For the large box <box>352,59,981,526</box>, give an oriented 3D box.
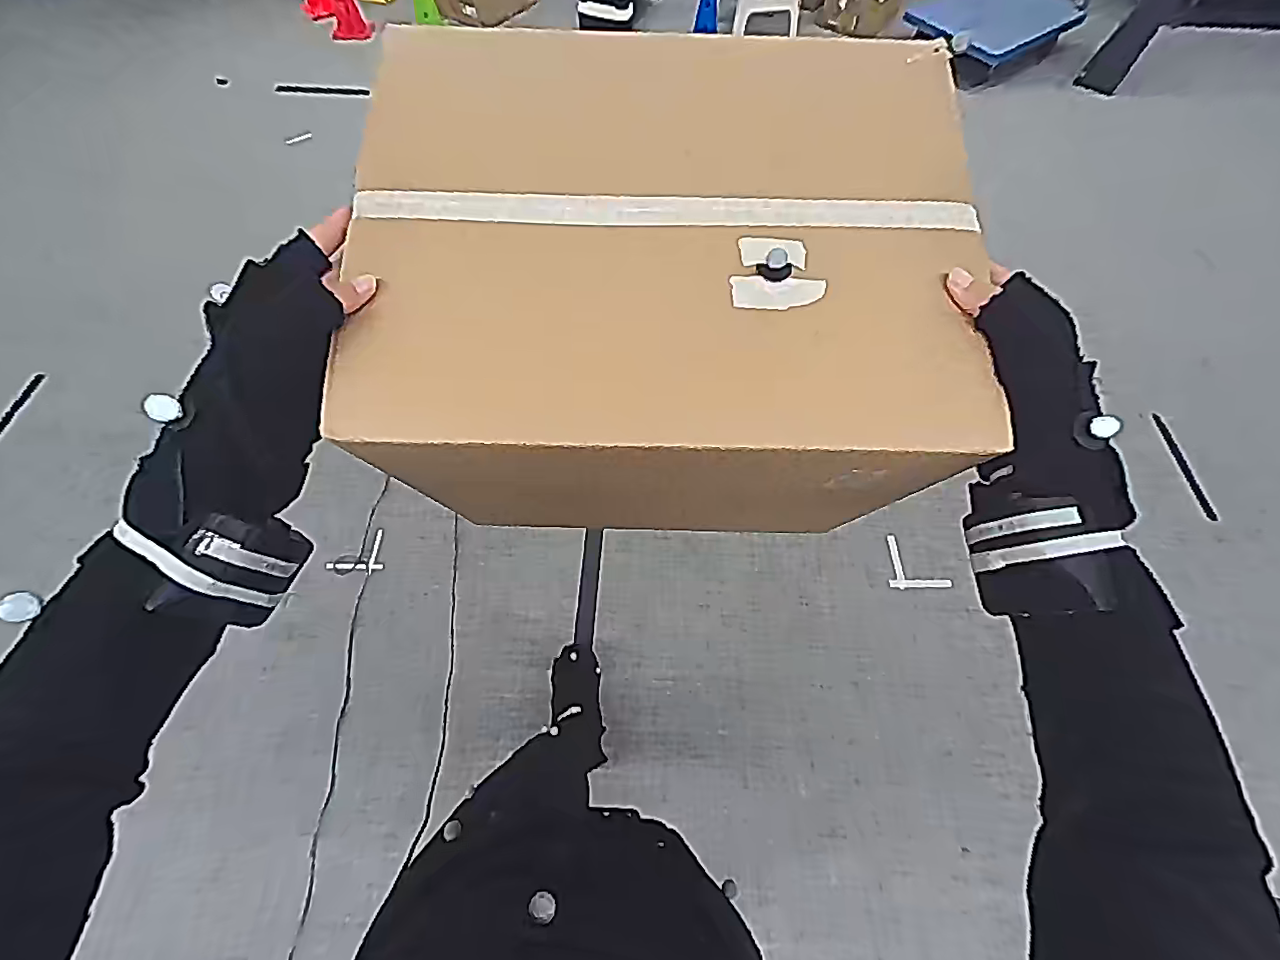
[{"bbox_3d":[0.014,-0.134,0.518,0.408,0.320,0.320,1,76,-1],"label":"large box"}]
